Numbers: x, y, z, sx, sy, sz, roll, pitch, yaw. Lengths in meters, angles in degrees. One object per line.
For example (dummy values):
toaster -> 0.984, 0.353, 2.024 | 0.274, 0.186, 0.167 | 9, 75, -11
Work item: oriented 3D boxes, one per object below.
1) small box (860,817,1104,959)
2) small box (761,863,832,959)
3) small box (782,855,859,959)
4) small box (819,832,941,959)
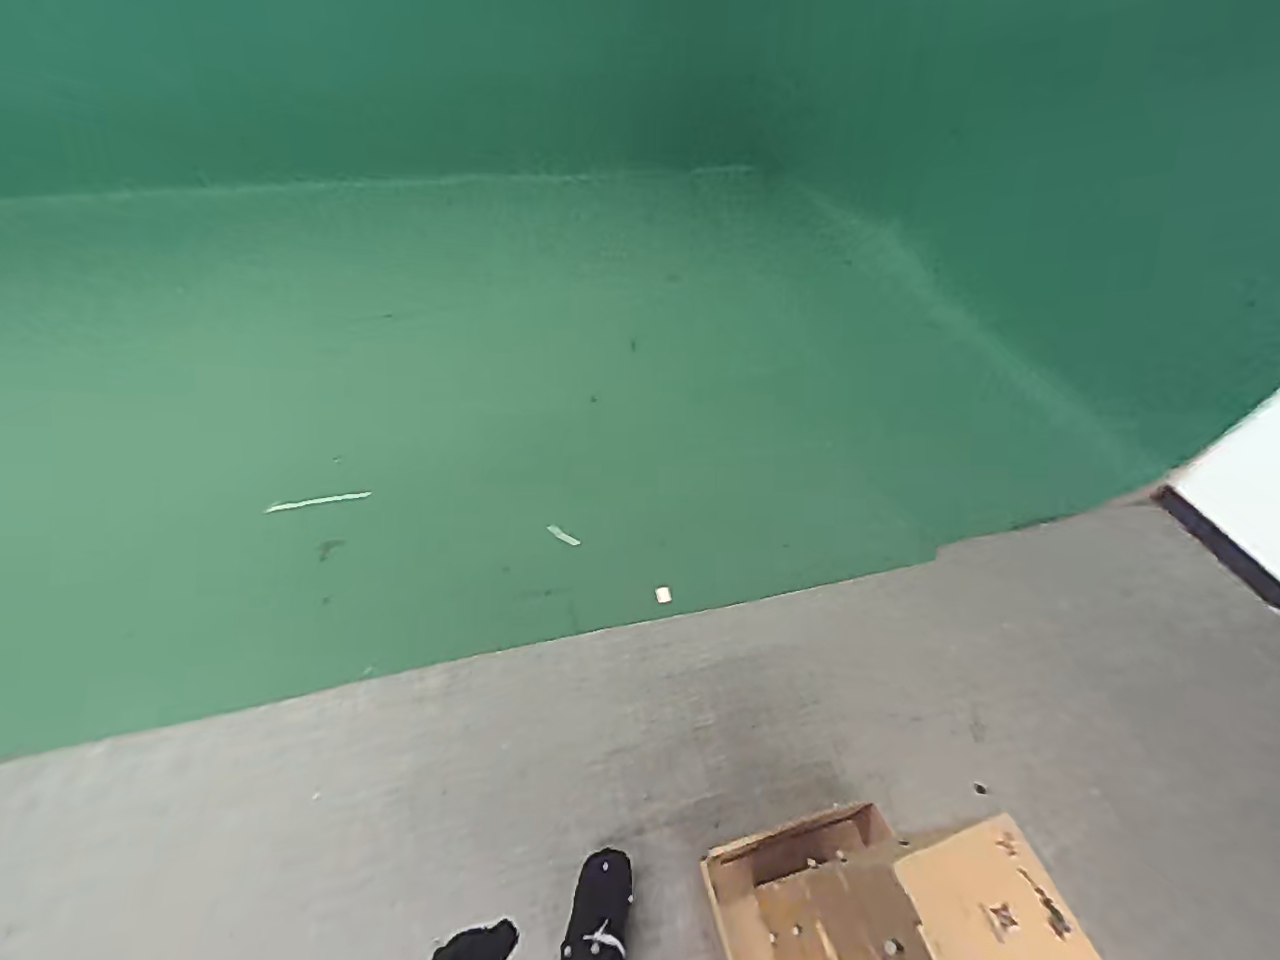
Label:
small box -> 0.396, 0.538, 0.658 | 0.179, 0.176, 0.168 | -12, 54, -13
small box -> 0.356, 0.848, 1.035 | 0.179, 0.176, 0.168 | -9, 52, -11
small box -> 0.367, 0.746, 0.909 | 0.179, 0.176, 0.168 | -10, 53, -12
small box -> 0.382, 0.640, 0.786 | 0.179, 0.176, 0.168 | -11, 54, -13
